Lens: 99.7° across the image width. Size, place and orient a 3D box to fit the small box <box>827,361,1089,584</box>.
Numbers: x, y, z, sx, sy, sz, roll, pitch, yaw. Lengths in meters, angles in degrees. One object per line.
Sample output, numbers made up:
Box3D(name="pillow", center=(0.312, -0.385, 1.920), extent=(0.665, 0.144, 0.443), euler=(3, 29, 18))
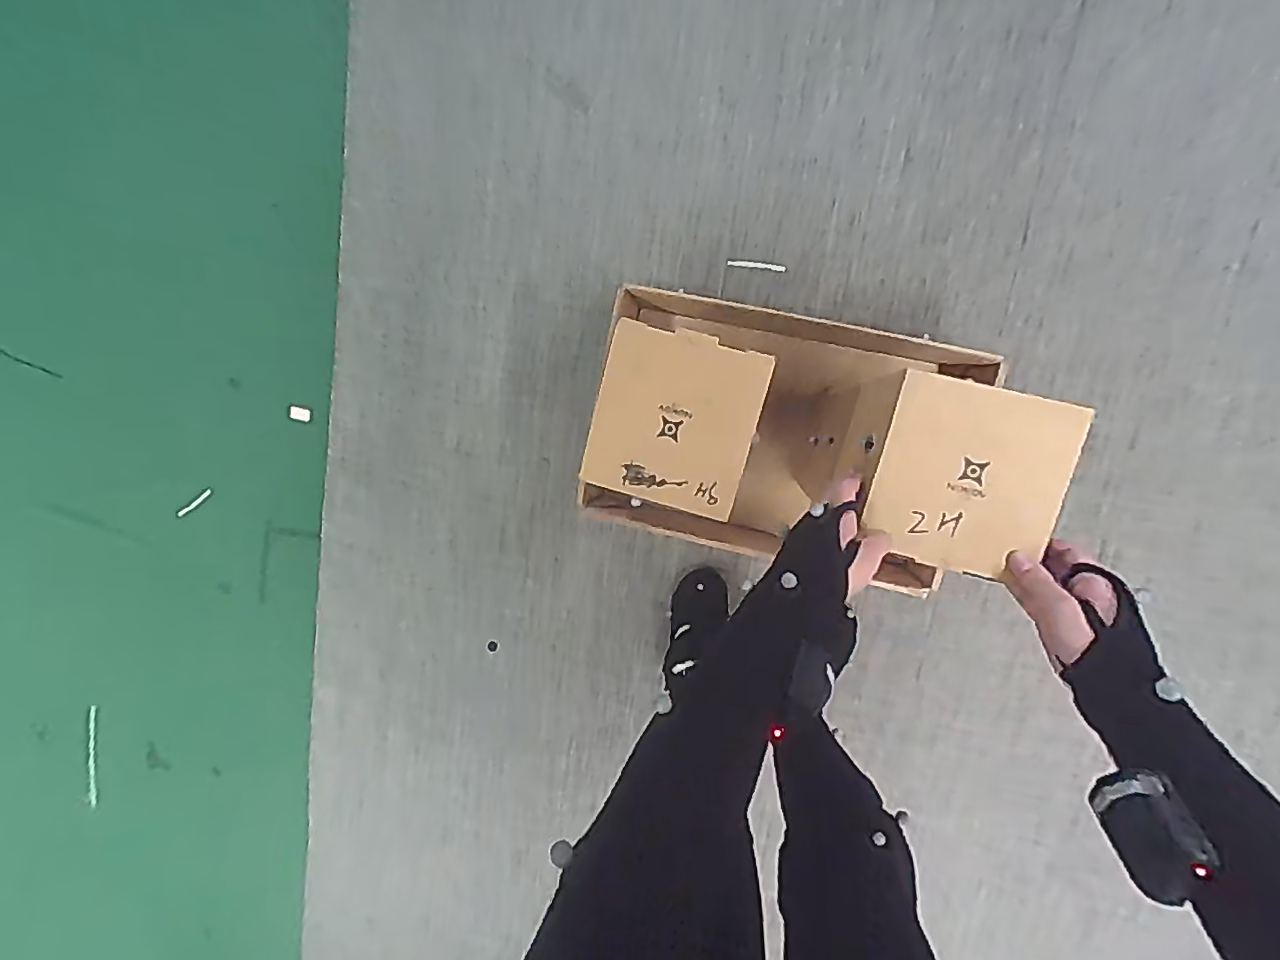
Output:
Box3D(name="small box", center=(0.314, -0.014, 0.578), extent=(0.168, 0.176, 0.179), euler=(15, 98, 7))

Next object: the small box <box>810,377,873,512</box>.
Box3D(name="small box", center=(0.344, -0.032, 0.748), extent=(0.168, 0.176, 0.179), euler=(16, 98, 8))

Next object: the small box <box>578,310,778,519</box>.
Box3D(name="small box", center=(0.046, -0.073, 0.624), extent=(0.168, 0.176, 0.179), euler=(17, 98, 7))
